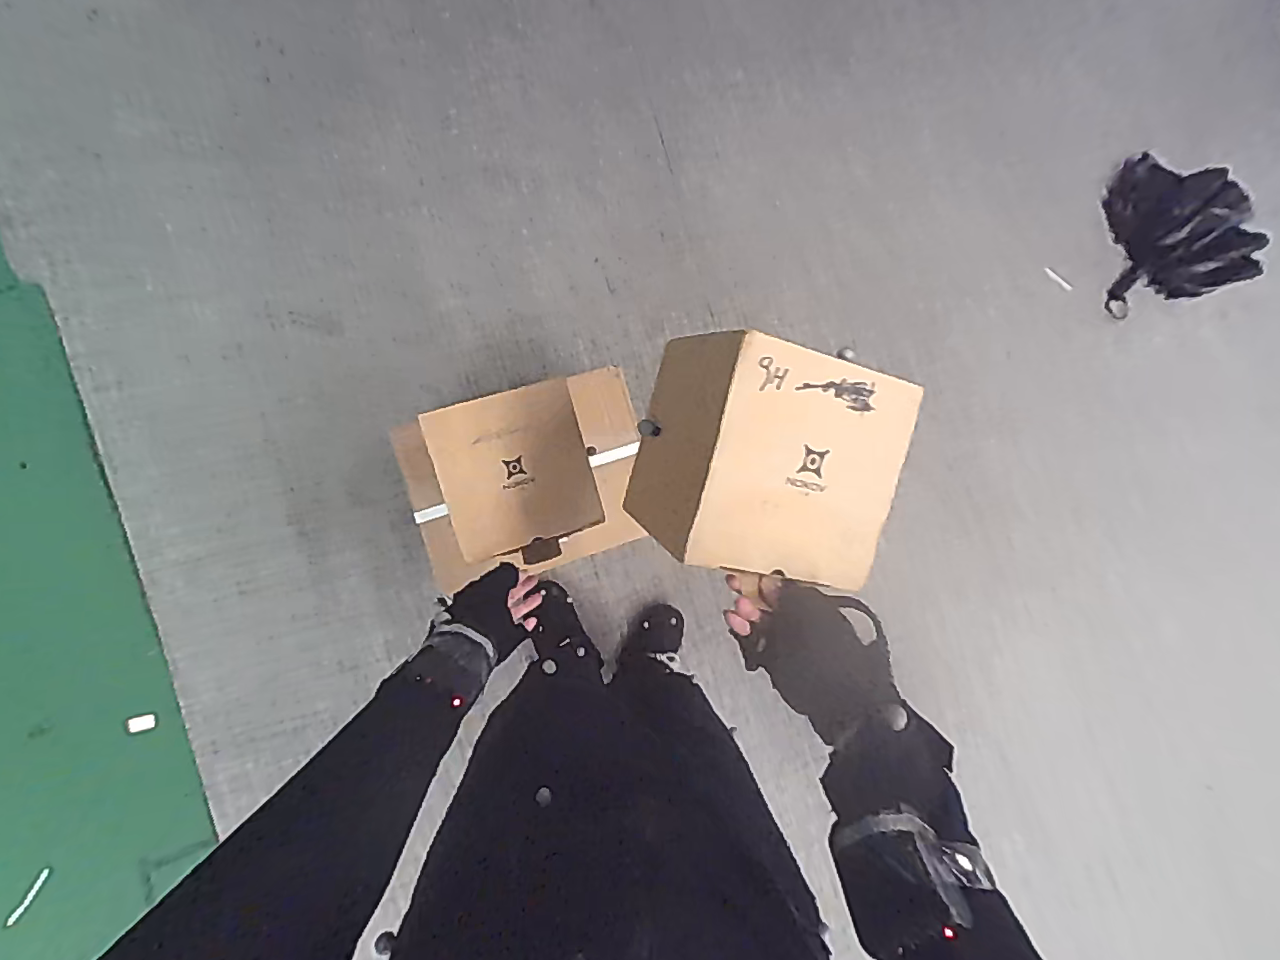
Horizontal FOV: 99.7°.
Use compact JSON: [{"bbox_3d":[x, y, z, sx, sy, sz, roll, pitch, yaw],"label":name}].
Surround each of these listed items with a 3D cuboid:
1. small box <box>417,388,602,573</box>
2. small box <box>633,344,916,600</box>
[{"bbox_3d":[-0.157,-0.005,0.686,0.168,0.176,0.179,-19,97,-10],"label":"small box"},{"bbox_3d":[0.103,-0.014,0.494,0.168,0.176,0.179,12,98,-19],"label":"small box"}]
